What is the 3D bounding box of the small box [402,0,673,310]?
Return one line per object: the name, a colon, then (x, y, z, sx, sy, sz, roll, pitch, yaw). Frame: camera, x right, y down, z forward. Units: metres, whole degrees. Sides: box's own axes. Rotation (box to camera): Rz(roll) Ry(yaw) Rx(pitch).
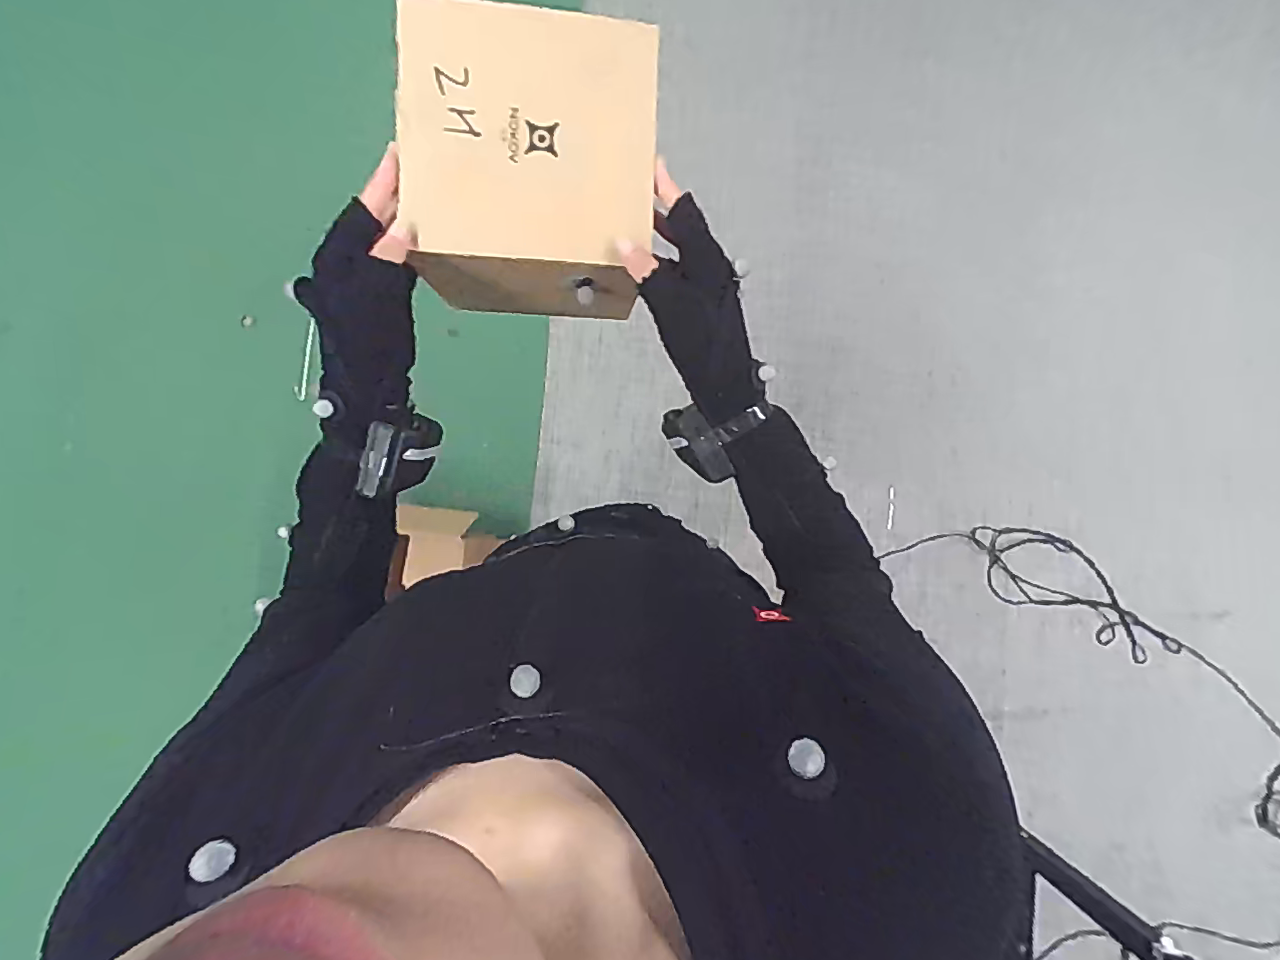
small box: (-0.077, -0.243, 0.442, 0.179, 0.176, 0.168, 2, 94, -7)
